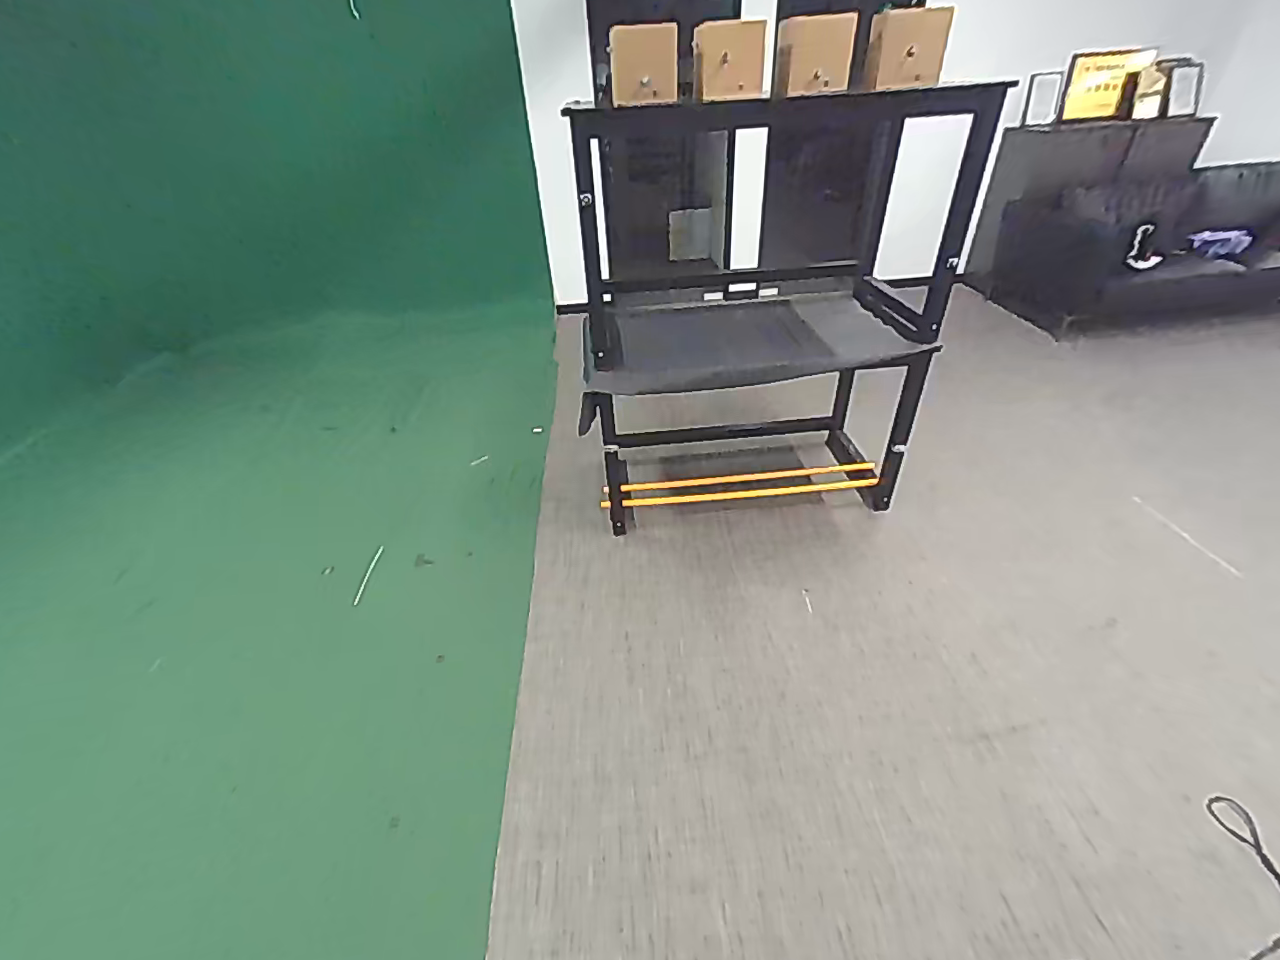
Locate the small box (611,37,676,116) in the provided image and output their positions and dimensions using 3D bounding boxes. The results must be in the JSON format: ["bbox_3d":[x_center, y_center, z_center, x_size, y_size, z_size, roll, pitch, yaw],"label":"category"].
[{"bbox_3d":[0.007,-1.121,1.509,0.168,0.176,0.179,-6,37,-3],"label":"small box"}]

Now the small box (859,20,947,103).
[{"bbox_3d":[0.728,-1.169,1.517,0.168,0.176,0.179,2,36,7],"label":"small box"}]
